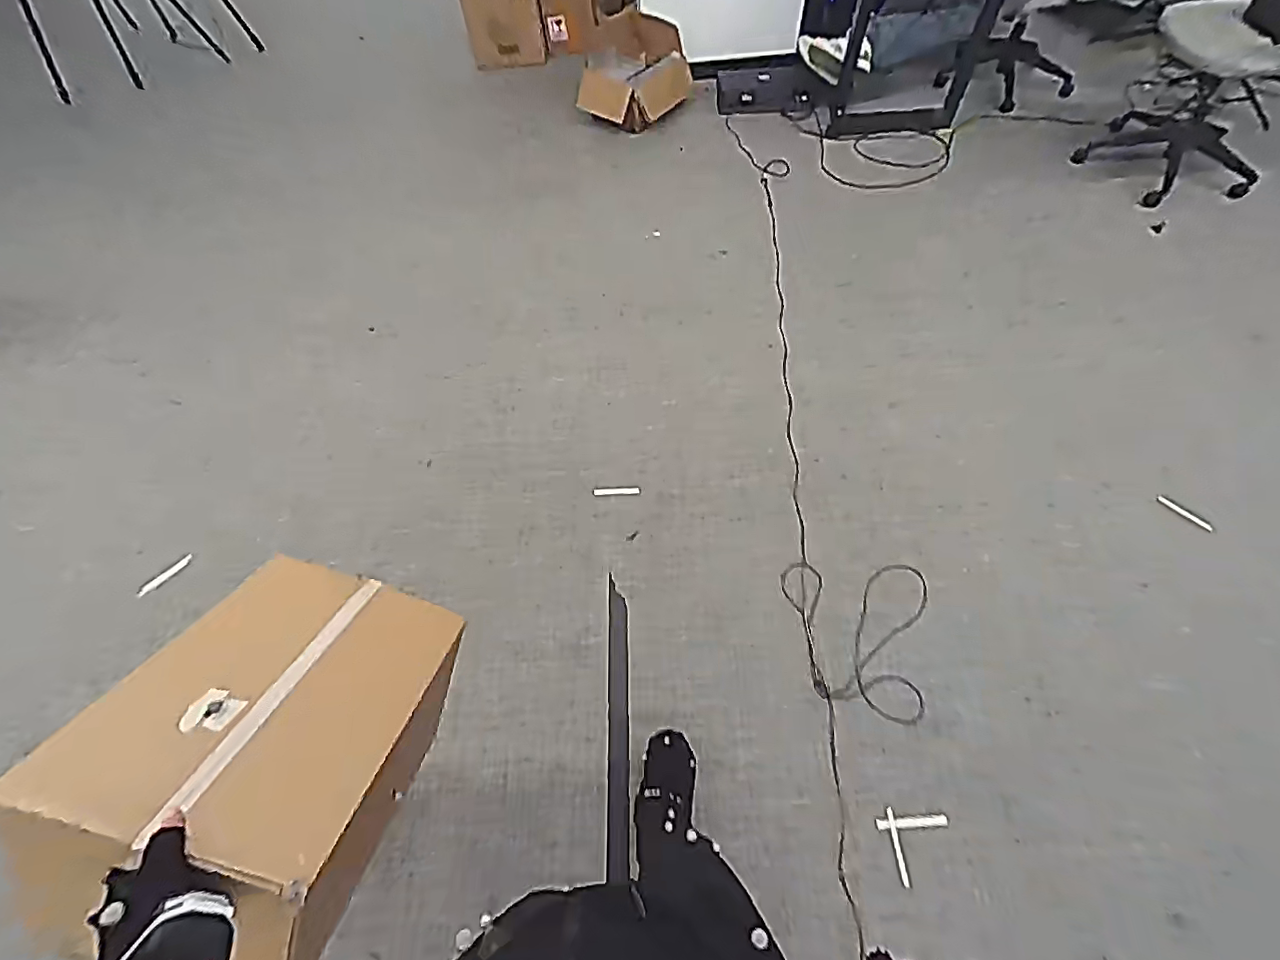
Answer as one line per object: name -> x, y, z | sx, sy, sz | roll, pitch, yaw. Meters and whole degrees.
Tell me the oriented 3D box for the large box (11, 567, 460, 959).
large box -> -0.505, 0.402, 0.778 | 0.320, 0.320, 0.408 | 19, 27, -2
